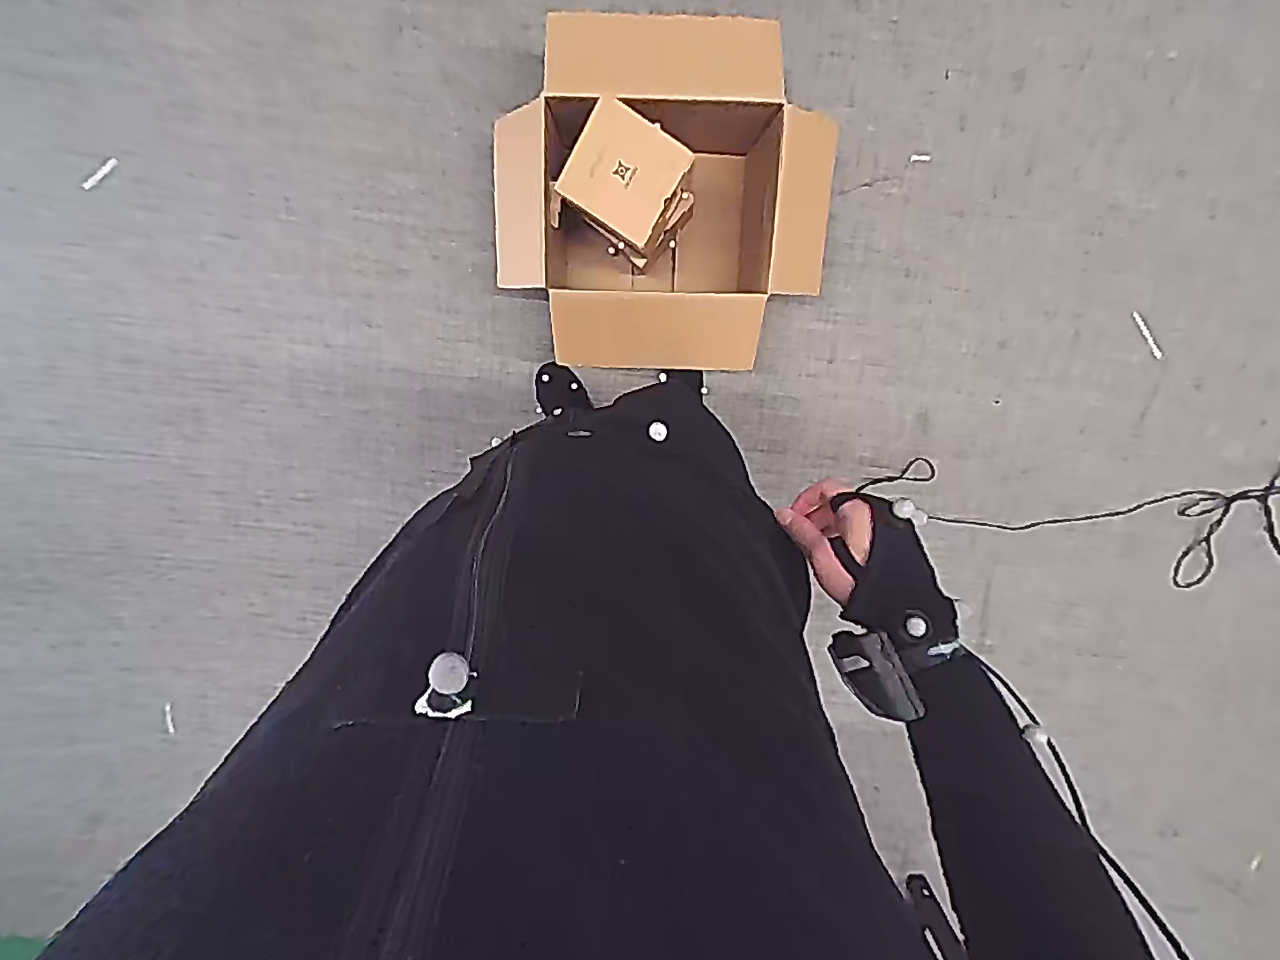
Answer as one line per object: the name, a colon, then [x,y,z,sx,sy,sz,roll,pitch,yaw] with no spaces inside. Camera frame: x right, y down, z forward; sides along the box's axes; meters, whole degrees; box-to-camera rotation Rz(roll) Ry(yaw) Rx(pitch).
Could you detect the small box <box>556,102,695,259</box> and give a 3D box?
small box: [-0.020,-0.513,0.960,0.179,0.176,0.168,32,105,-5]
